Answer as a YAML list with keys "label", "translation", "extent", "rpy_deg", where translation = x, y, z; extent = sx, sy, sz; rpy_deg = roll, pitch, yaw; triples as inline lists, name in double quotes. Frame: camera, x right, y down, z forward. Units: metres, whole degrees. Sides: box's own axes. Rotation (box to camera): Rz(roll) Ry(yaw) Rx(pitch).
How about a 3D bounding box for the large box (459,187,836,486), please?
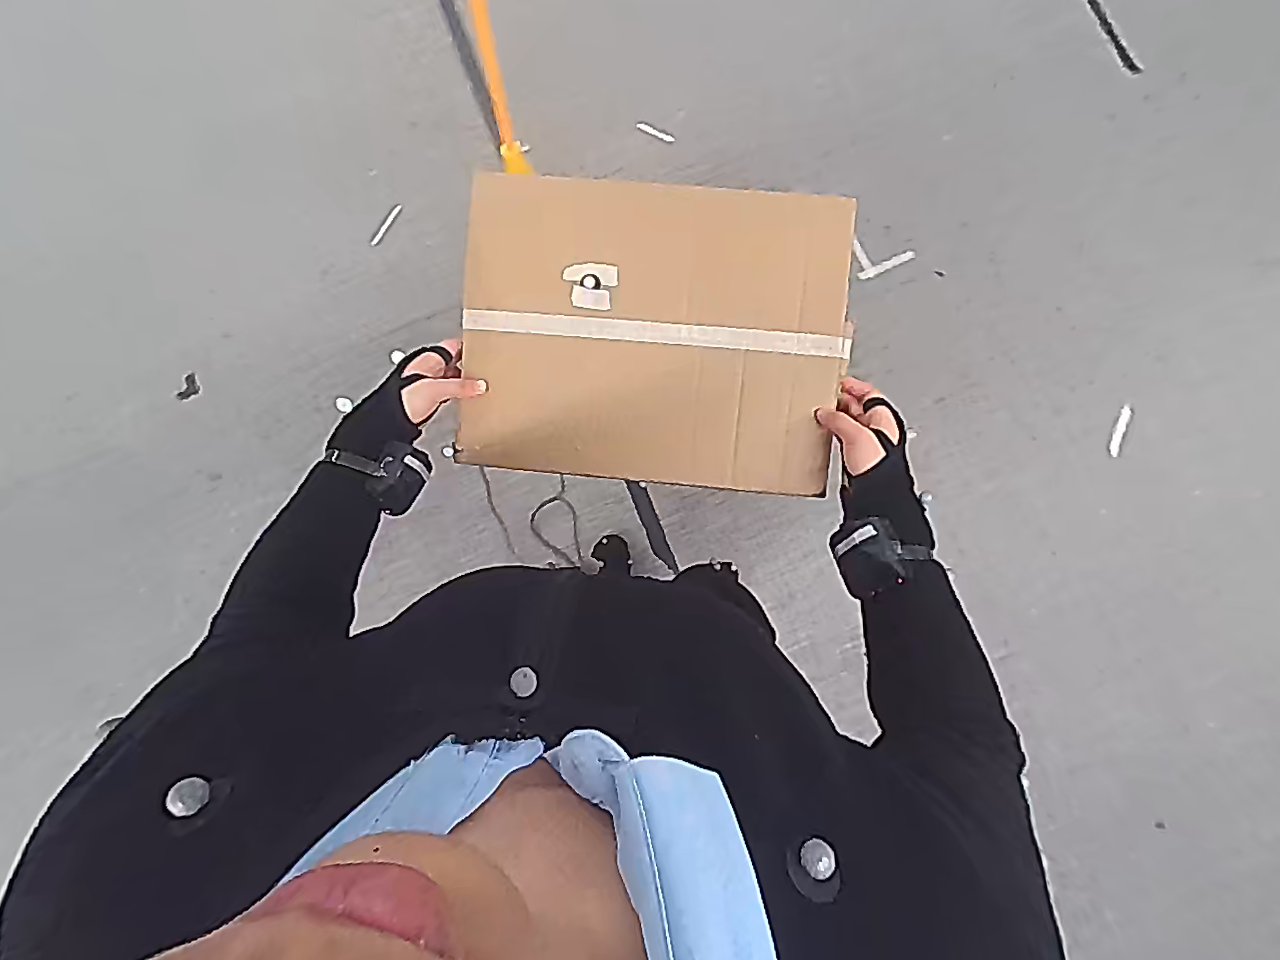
- label: "large box"
  translation: [0.014, -0.165, 0.734]
  extent: [0.408, 0.320, 0.320]
  rpy_deg: [4, 92, 4]
